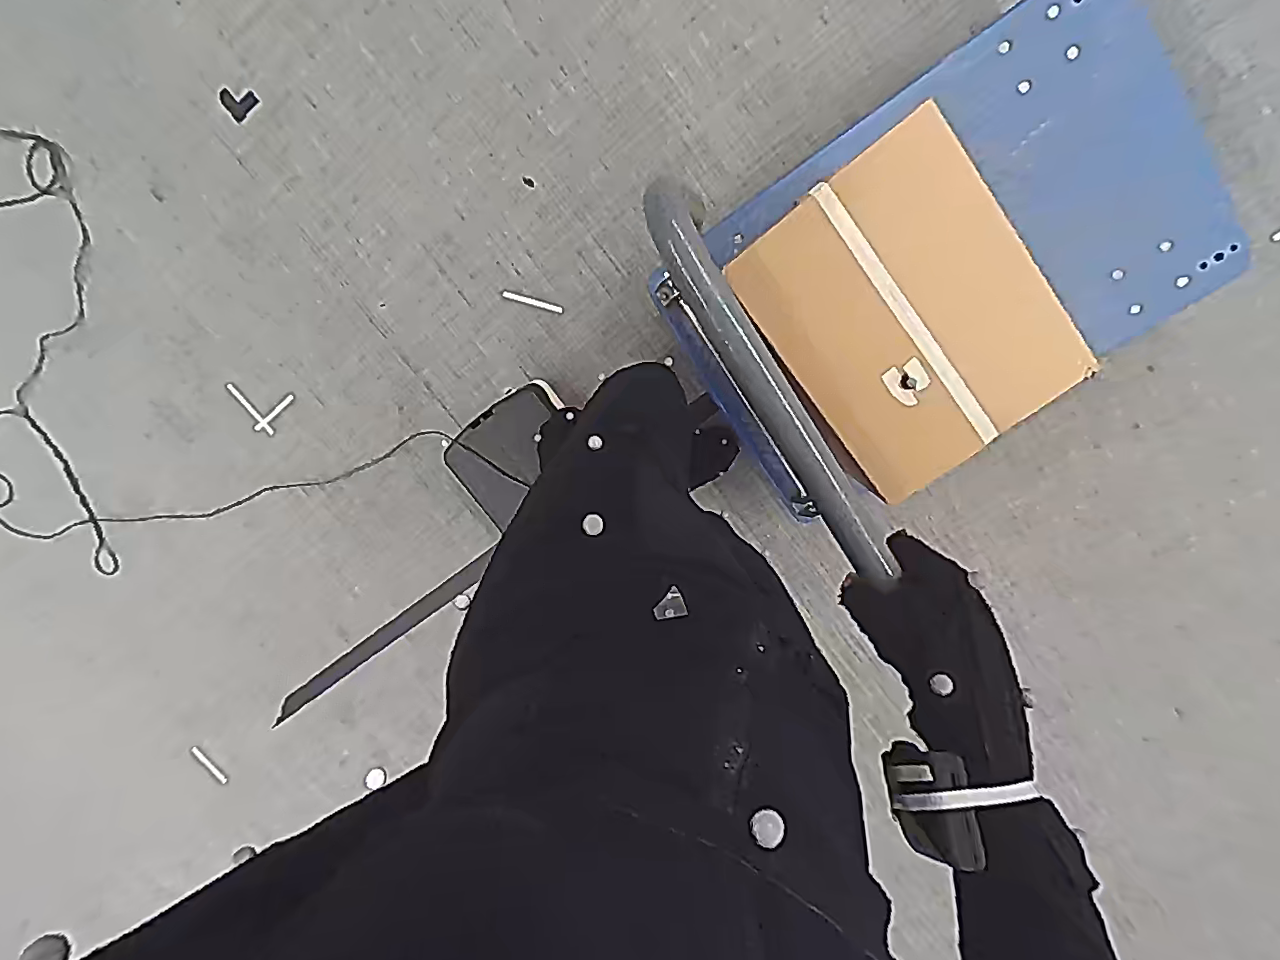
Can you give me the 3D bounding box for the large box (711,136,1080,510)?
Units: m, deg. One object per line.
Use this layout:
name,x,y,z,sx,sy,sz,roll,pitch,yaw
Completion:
large box,0.360,-0.228,0.873,0.320,0.320,0.408,-37,98,12
